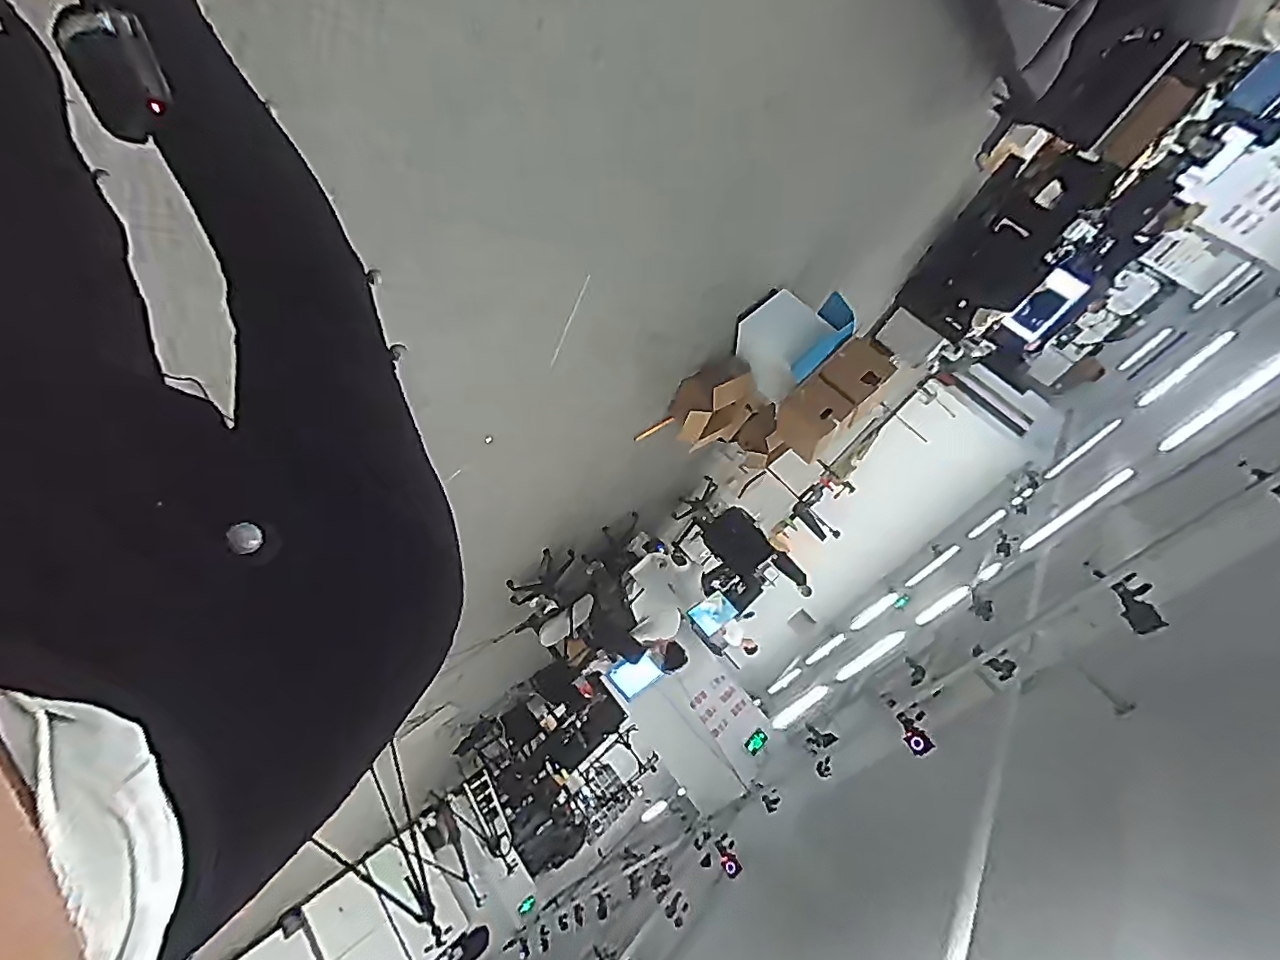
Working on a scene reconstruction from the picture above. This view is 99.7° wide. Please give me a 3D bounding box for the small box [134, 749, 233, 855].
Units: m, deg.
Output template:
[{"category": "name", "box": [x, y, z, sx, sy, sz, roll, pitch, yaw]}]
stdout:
[{"category": "small box", "box": [-1.289, 0.906, 1.527, 0.179, 0.176, 0.168, -23, 155, -44]}]
